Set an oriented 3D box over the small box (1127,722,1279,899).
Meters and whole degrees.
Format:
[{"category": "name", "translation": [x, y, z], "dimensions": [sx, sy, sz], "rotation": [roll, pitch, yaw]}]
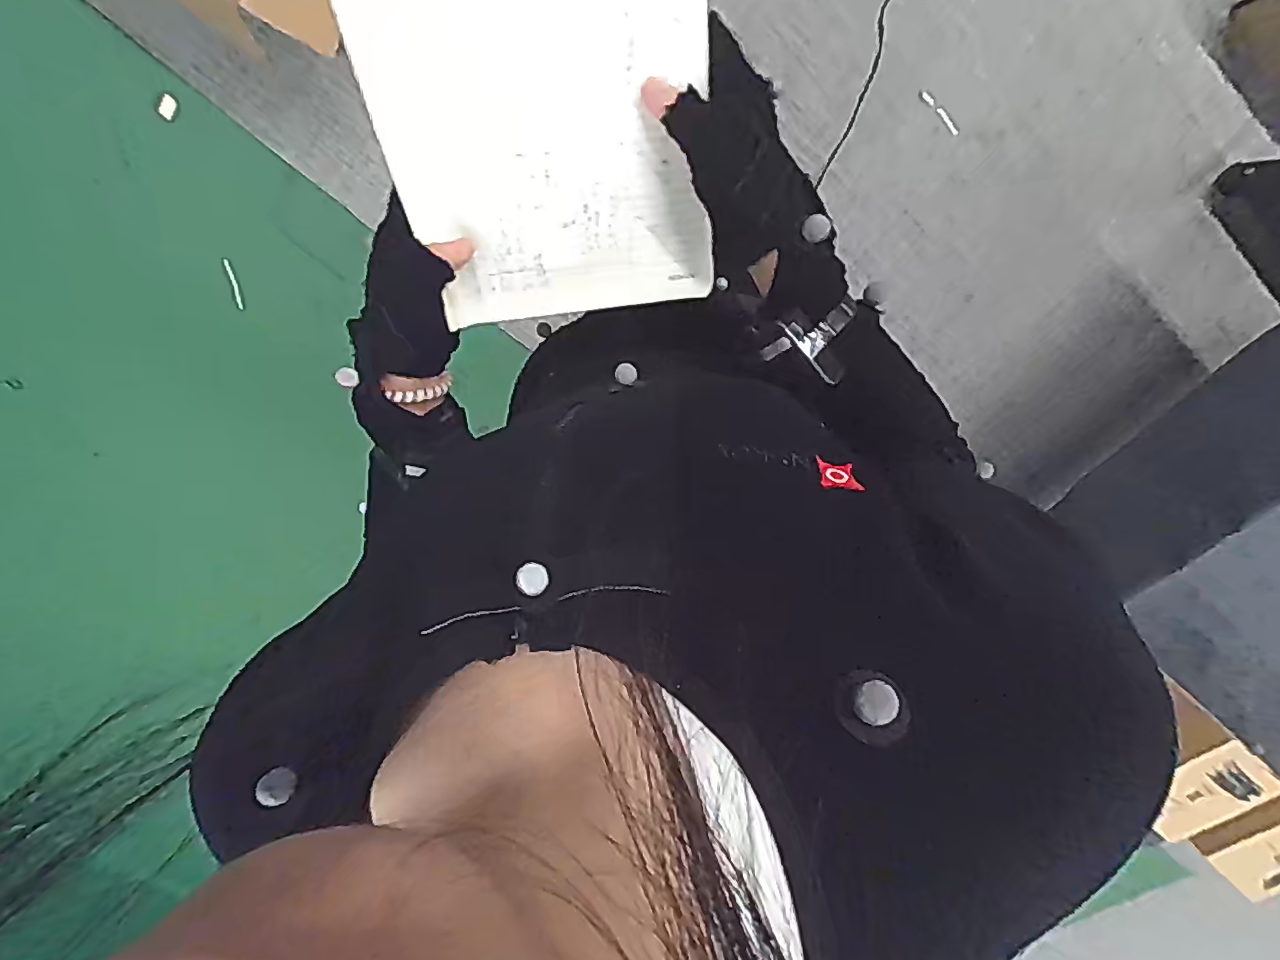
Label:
[{"category": "small box", "translation": [0.999, 0.550, 0.912], "dimensions": [0.179, 0.176, 0.168], "rotation": [40, 110, -15]}]
